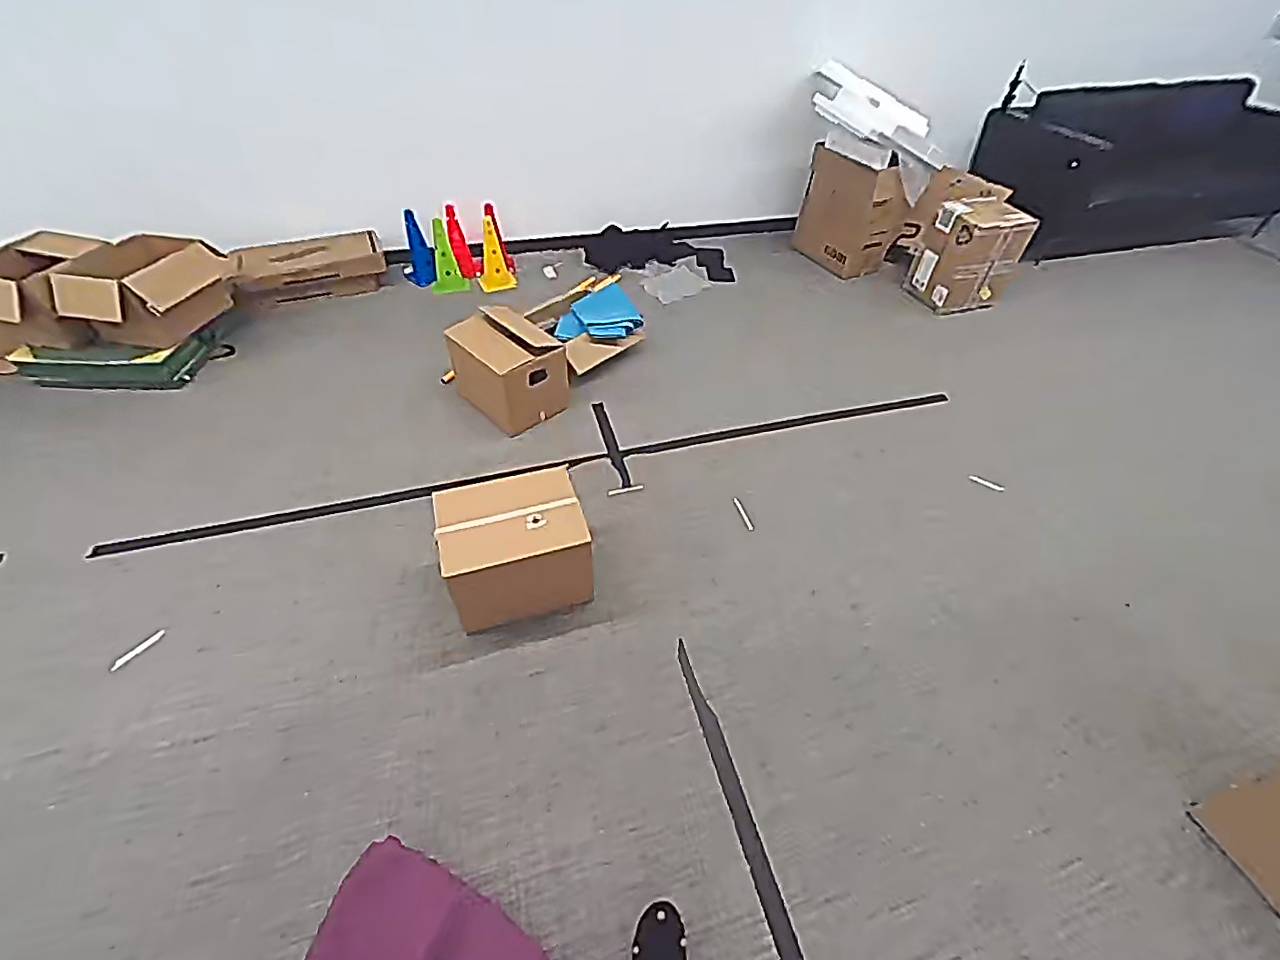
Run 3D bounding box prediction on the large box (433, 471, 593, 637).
[{"bbox_3d":[-0.378,0.221,1.645,0.408,0.320,0.320,-12,48,-16],"label":"large box"}]
